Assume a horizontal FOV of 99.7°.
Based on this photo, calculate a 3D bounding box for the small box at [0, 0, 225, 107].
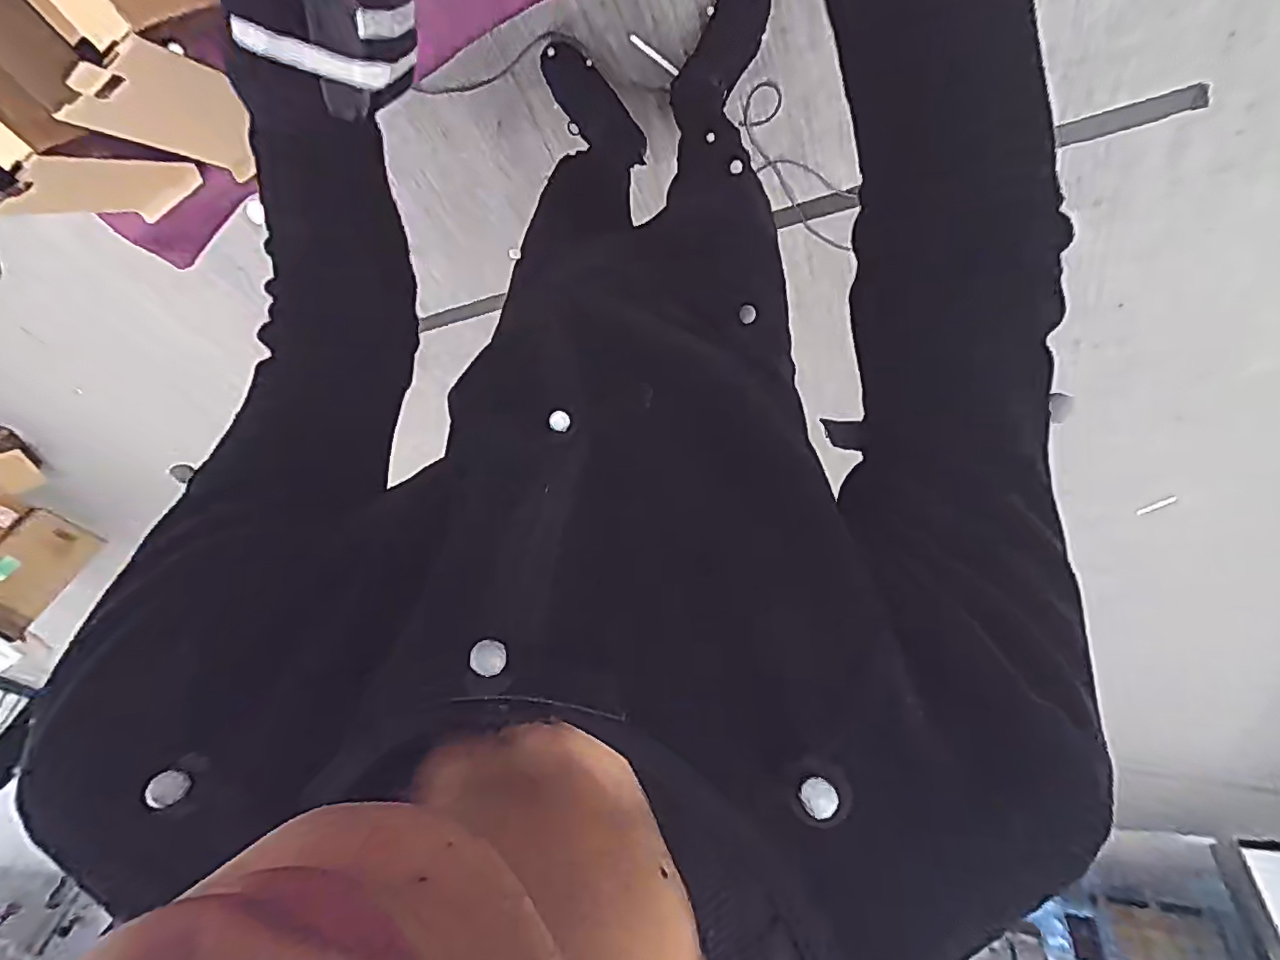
[{"bbox_3d":[-0.543,-0.500,0.502,0.168,0.176,0.179,-11,136,24],"label":"small box"}]
